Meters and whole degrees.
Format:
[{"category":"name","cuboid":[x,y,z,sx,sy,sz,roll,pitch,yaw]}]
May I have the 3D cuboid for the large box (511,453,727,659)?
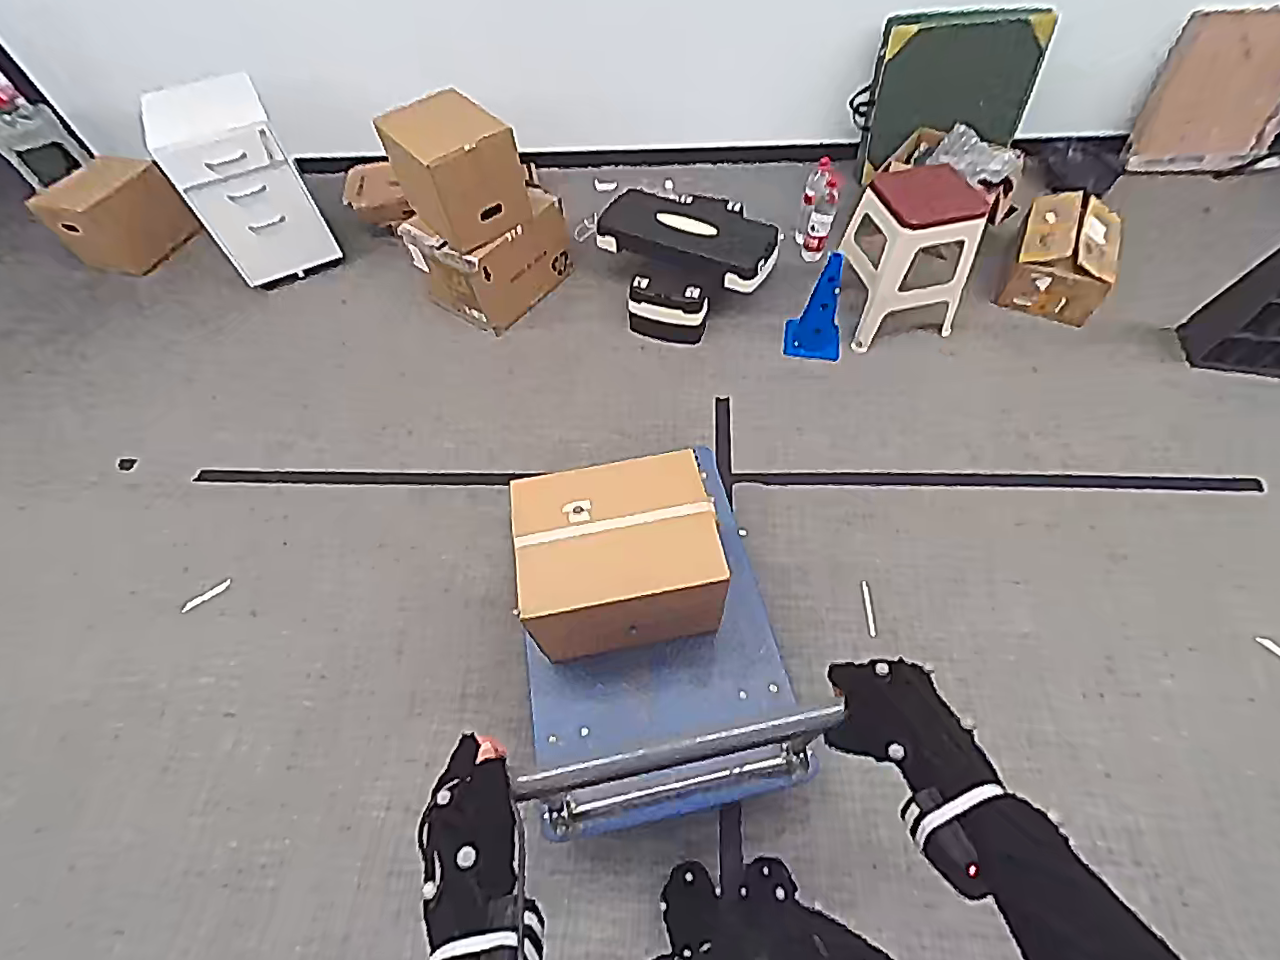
[{"category":"large box","cuboid":[-0.046,0.181,1.223,0.408,0.320,0.320,-11,57,-3]}]
